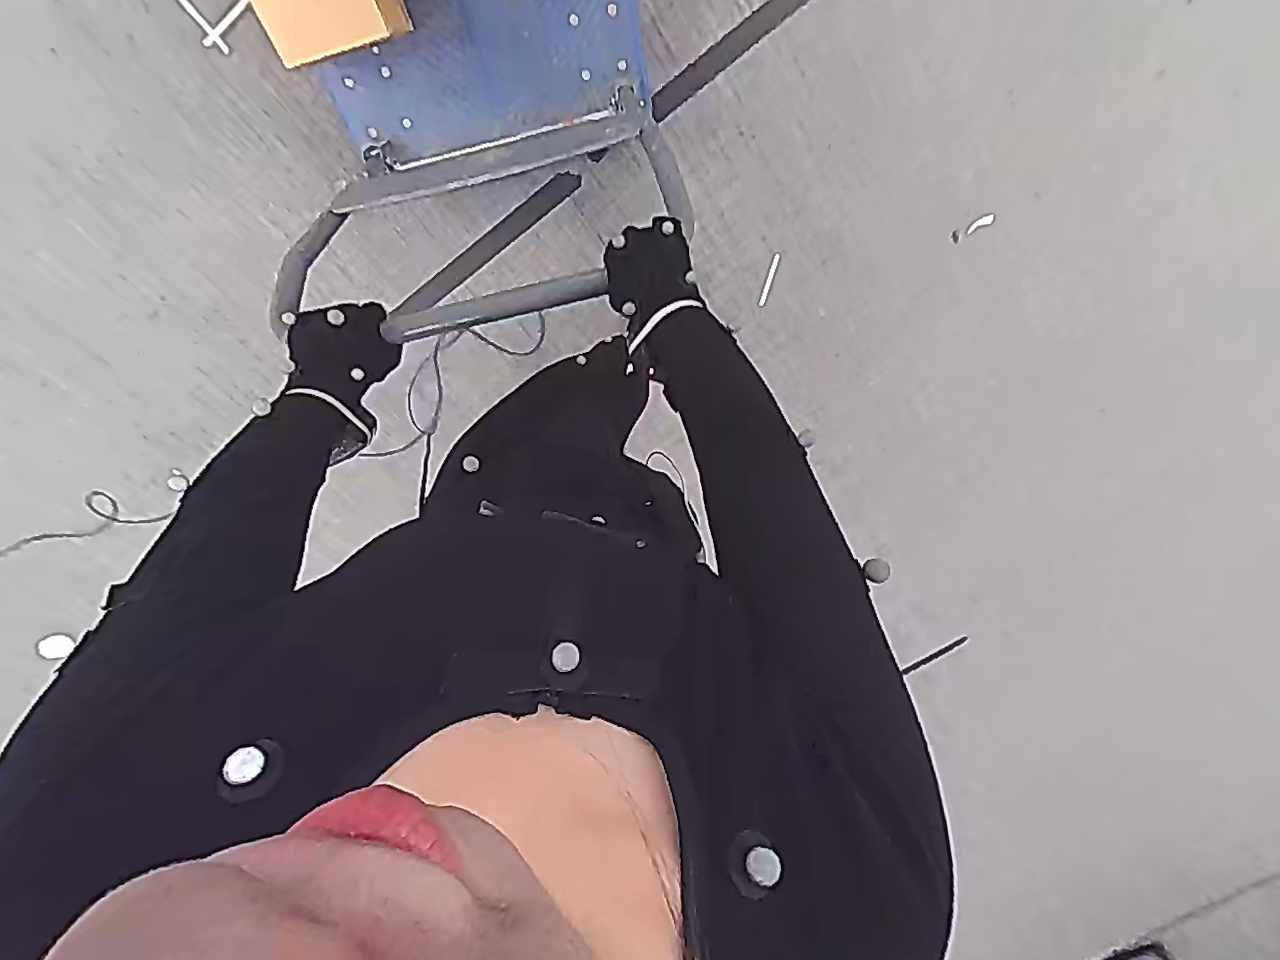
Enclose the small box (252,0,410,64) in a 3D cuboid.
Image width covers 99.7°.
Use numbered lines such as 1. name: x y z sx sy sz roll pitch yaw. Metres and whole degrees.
1. small box: -0.485 -0.766 0.830 0.179 0.176 0.168 -15 131 4
